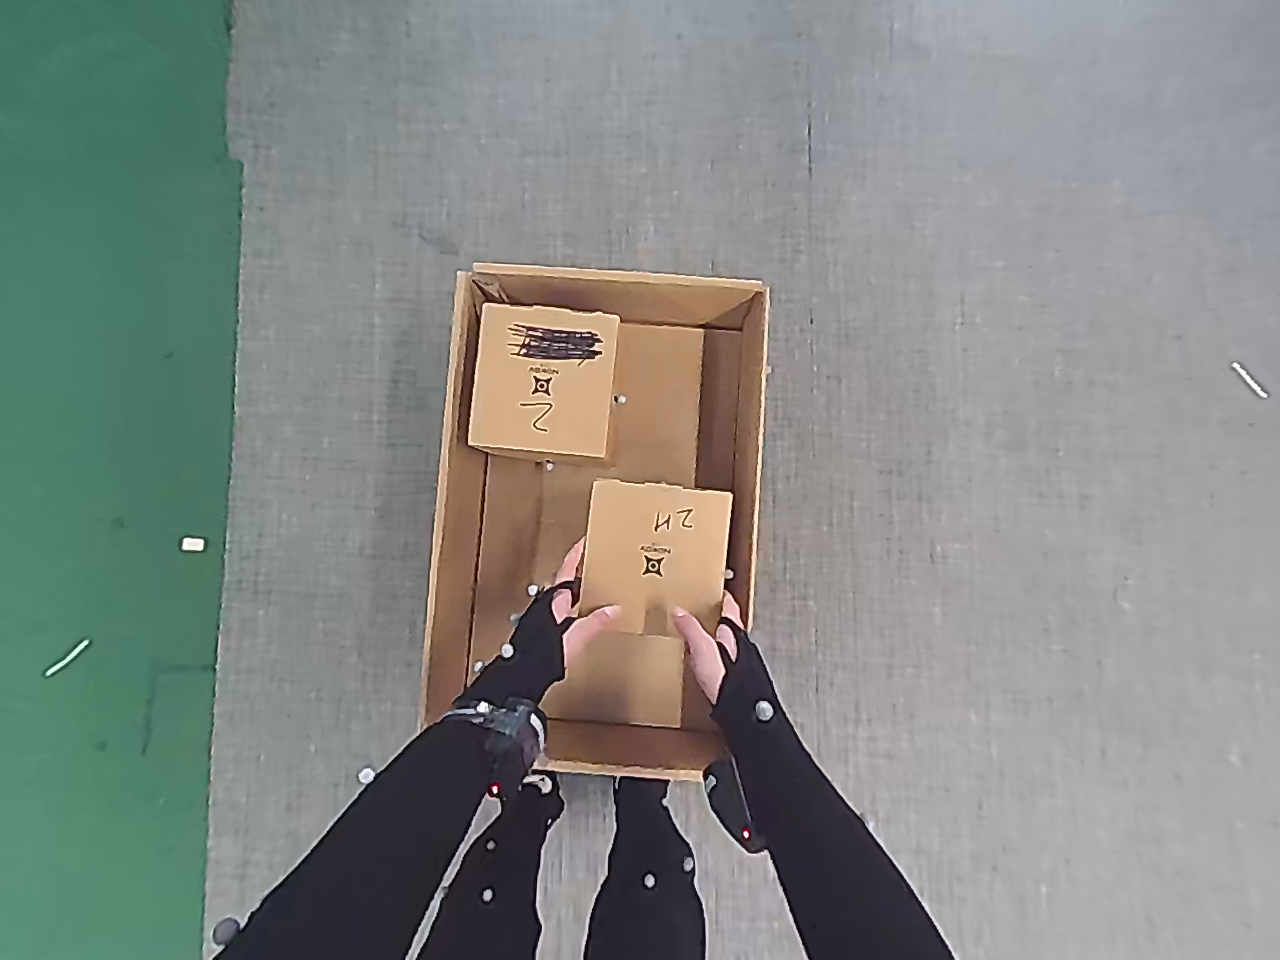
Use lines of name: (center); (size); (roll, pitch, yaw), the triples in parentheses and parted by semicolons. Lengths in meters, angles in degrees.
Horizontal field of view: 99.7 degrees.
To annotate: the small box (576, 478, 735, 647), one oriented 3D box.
small box: (0.020, 0.099, 0.696); (0.168, 0.176, 0.179); (7, 85, 0)
